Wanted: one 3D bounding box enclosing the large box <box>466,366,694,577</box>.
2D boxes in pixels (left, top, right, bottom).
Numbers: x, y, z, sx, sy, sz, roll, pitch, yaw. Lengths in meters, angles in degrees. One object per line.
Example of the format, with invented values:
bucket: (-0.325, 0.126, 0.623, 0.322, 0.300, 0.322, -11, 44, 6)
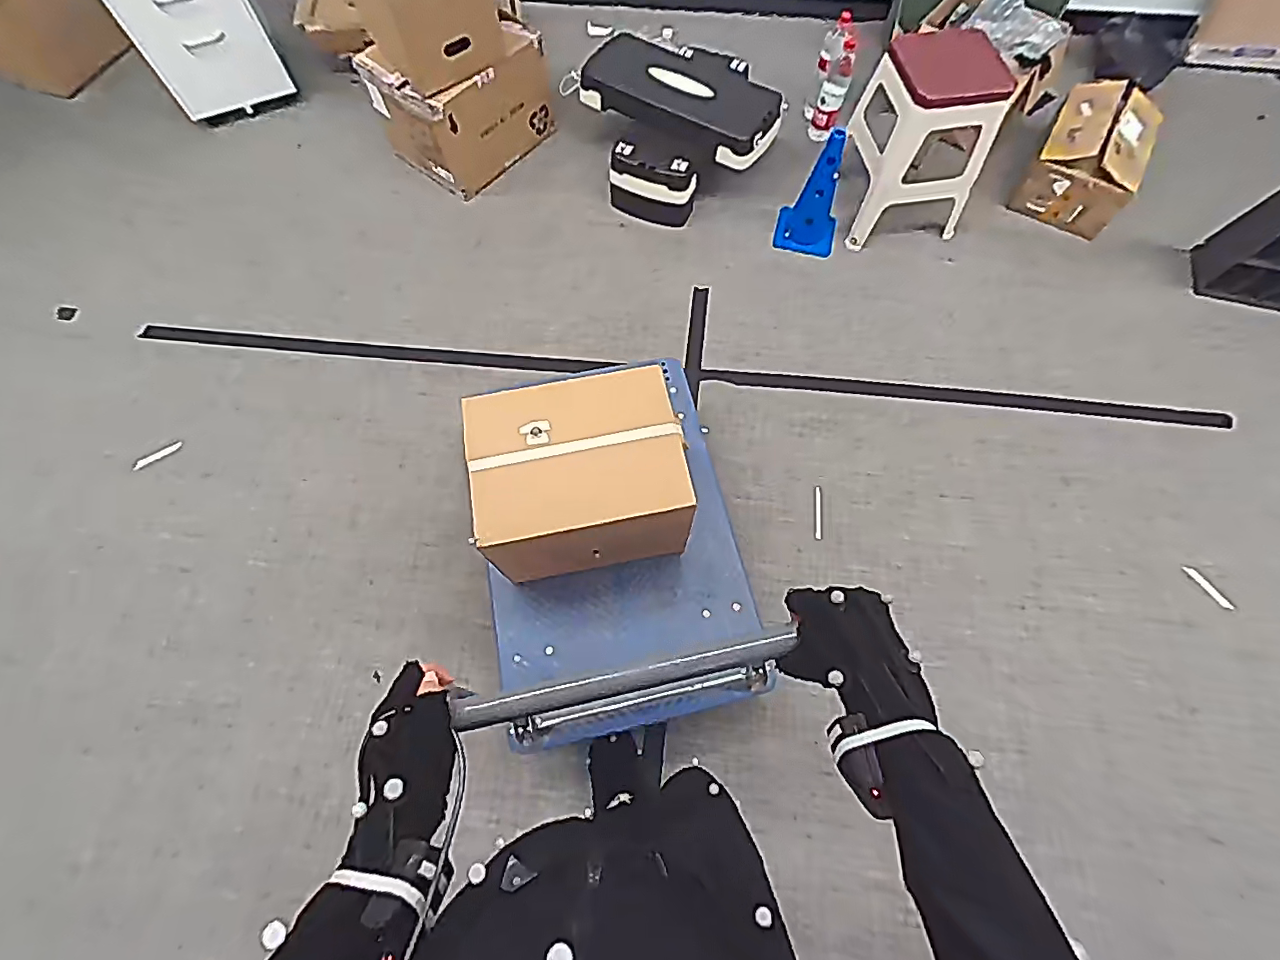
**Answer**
large box: (-0.120, -0.002, 1.172, 0.408, 0.320, 0.320, -11, 68, -4)
